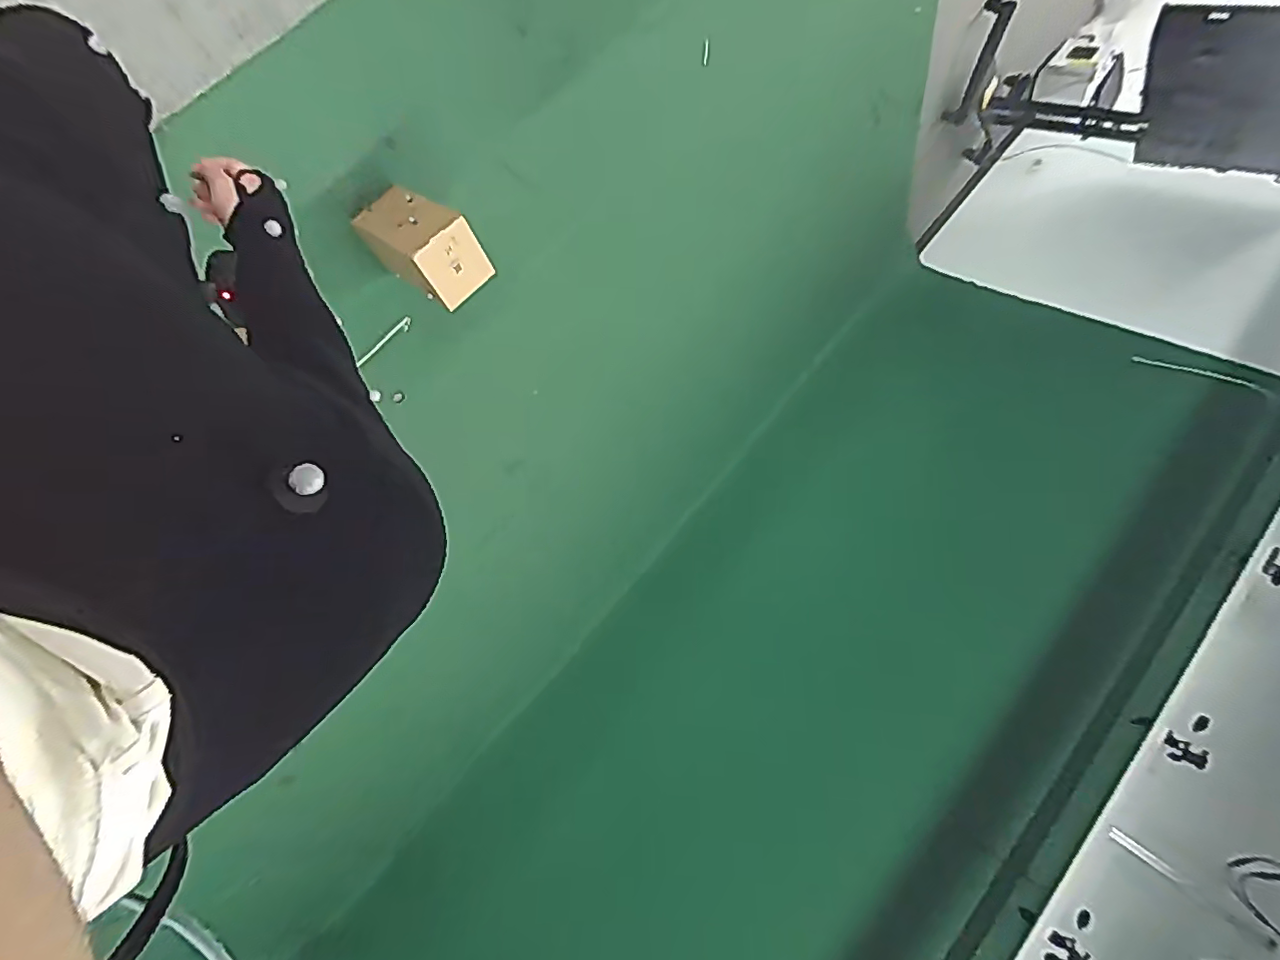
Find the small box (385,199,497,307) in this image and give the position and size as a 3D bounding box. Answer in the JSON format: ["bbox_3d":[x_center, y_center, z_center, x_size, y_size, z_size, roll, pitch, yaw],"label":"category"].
[{"bbox_3d":[-0.509,-0.585,1.389,0.168,0.176,0.179,-47,149,-13],"label":"small box"}]
